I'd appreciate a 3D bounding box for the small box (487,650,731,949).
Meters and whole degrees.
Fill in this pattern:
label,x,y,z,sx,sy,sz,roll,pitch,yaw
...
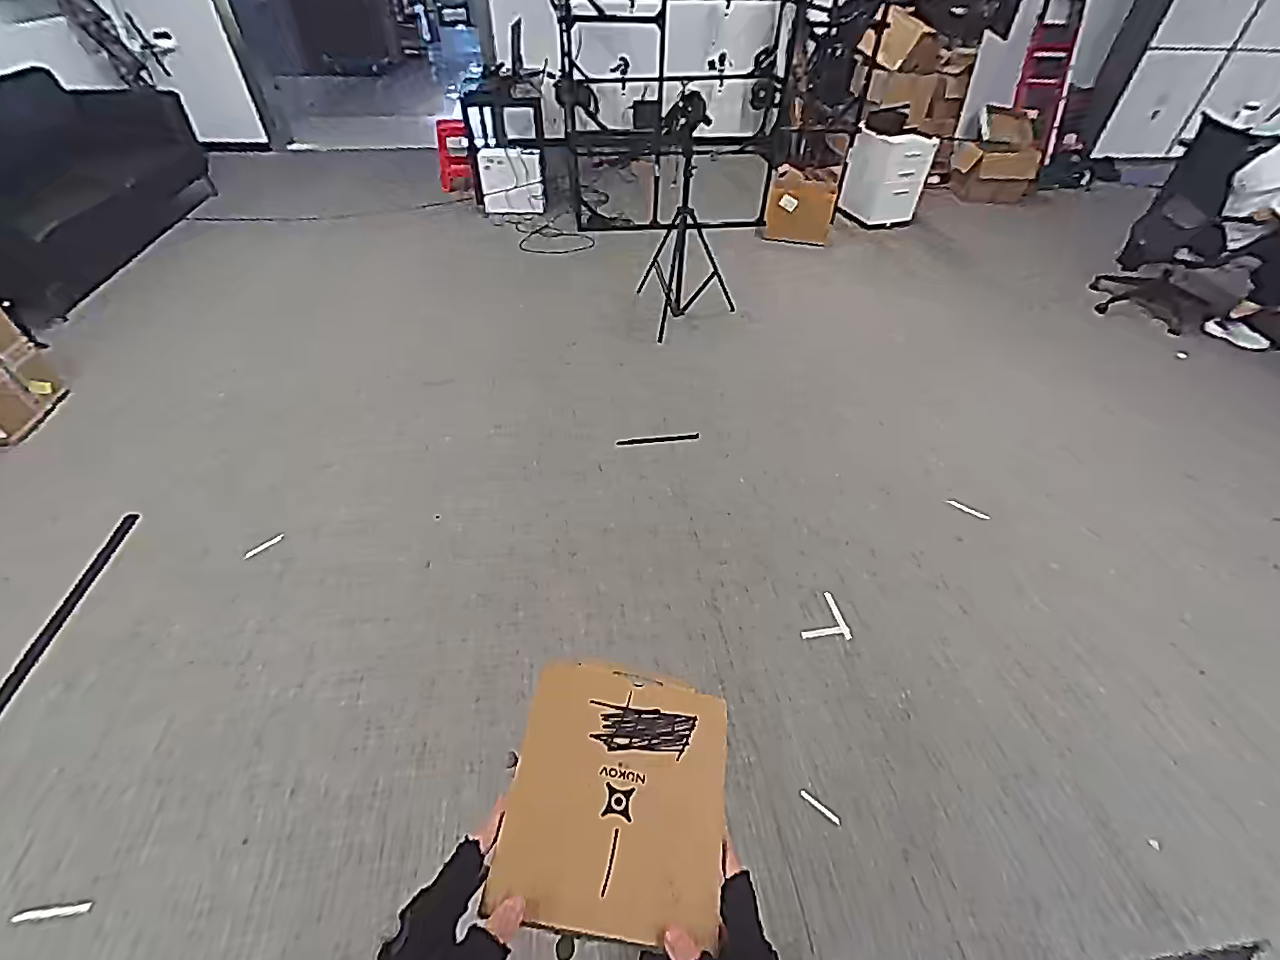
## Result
label,x,y,z,sx,sy,sz,roll,pitch,yaw
small box,-0.030,0.278,0.472,0.168,0.176,0.179,15,49,-5
